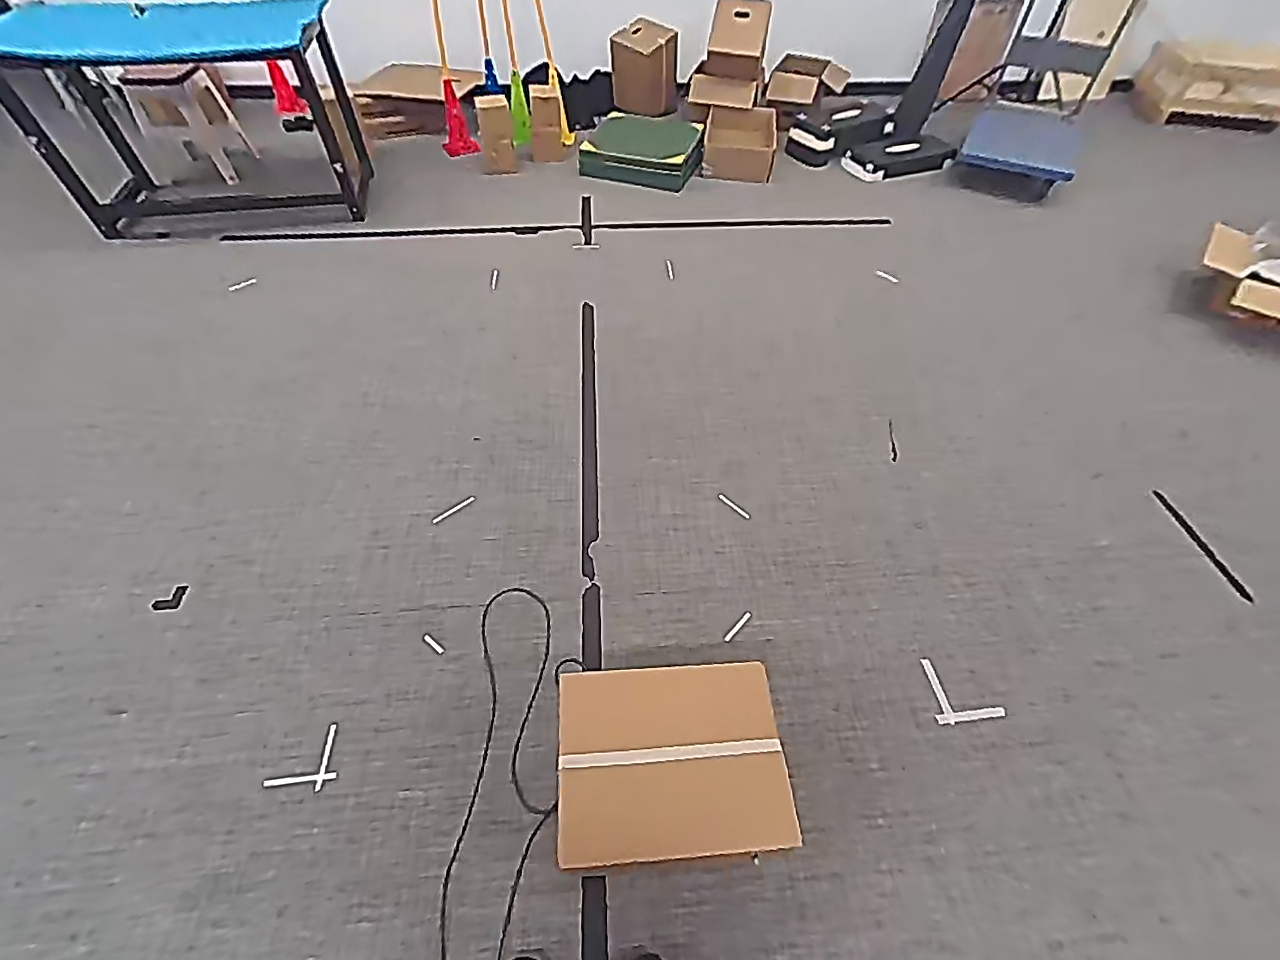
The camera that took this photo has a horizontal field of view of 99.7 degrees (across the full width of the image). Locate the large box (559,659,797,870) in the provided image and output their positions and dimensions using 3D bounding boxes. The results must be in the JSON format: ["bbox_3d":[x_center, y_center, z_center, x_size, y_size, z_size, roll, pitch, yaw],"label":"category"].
[{"bbox_3d":[0.050,0.580,1.094,0.408,0.320,0.320,-2,52,-5],"label":"large box"}]
